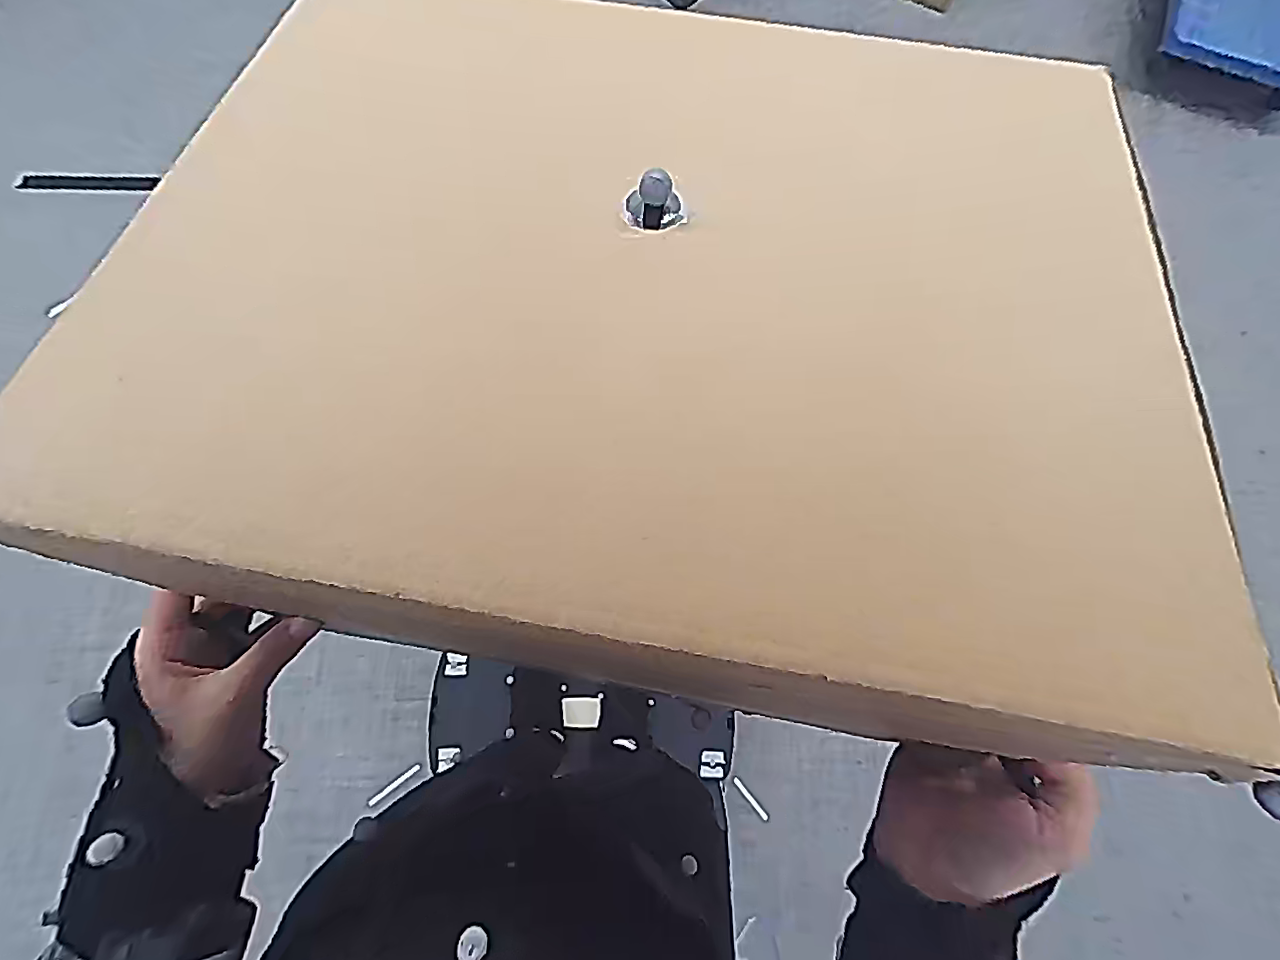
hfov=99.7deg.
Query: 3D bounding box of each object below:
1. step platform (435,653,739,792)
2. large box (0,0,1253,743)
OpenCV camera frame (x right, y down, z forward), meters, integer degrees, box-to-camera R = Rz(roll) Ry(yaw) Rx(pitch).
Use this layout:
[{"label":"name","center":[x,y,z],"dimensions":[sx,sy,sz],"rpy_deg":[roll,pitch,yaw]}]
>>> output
[{"label":"step platform","center":[-0.115,0.524,1.264],"dimensions":[0.684,0.204,0.286],"rpy_deg":[6,76,-1]},{"label":"large box","center":[-0.010,-0.041,0.350],"dimensions":[0.408,0.320,0.320],"rpy_deg":[8,69,4]}]
